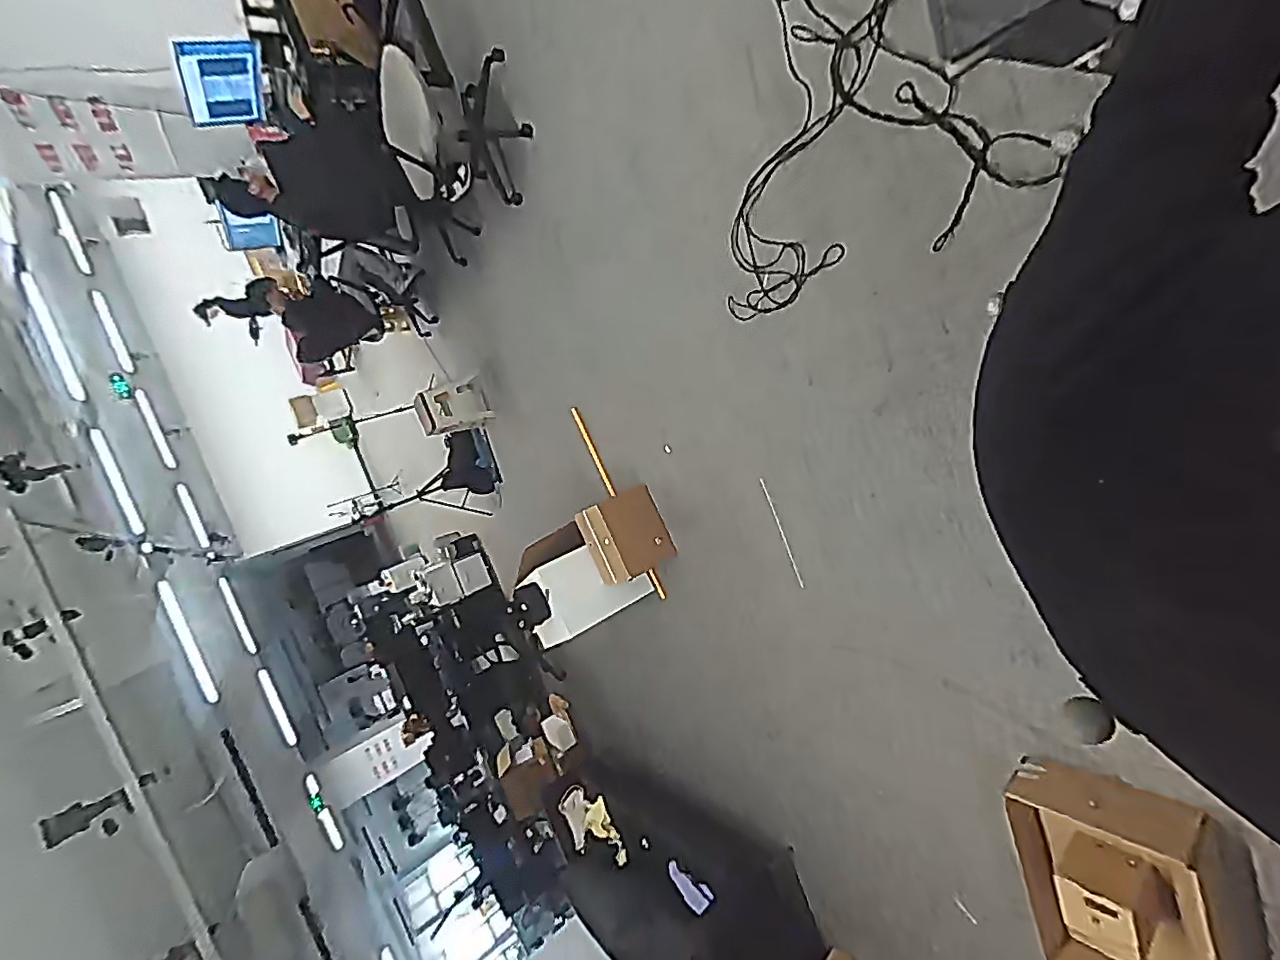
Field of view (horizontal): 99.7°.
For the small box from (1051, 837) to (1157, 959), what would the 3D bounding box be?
[{"bbox_3d":[1.225,1.101,1.427,0.168,0.176,0.179,-2,109,57],"label":"small box"}]
